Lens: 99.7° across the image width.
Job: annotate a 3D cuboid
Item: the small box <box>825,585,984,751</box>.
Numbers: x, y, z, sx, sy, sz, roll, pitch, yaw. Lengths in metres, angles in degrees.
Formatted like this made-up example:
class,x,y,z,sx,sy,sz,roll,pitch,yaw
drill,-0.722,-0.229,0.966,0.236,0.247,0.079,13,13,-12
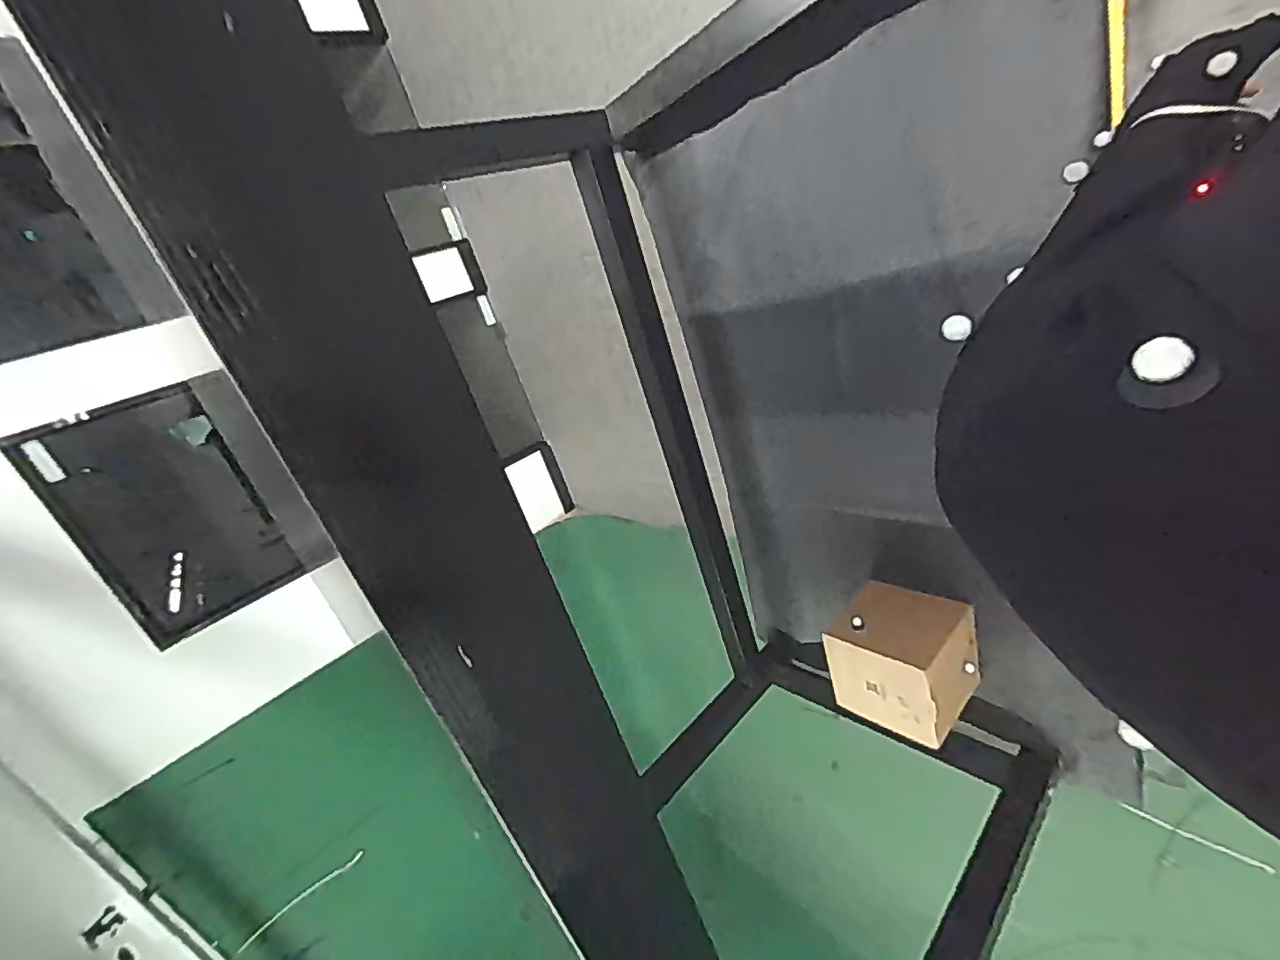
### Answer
class,x,y,z,sx,sy,sz,roll,pitch,yaw
small box,0.443,0.300,0.906,0.179,0.176,0.168,9,124,51
